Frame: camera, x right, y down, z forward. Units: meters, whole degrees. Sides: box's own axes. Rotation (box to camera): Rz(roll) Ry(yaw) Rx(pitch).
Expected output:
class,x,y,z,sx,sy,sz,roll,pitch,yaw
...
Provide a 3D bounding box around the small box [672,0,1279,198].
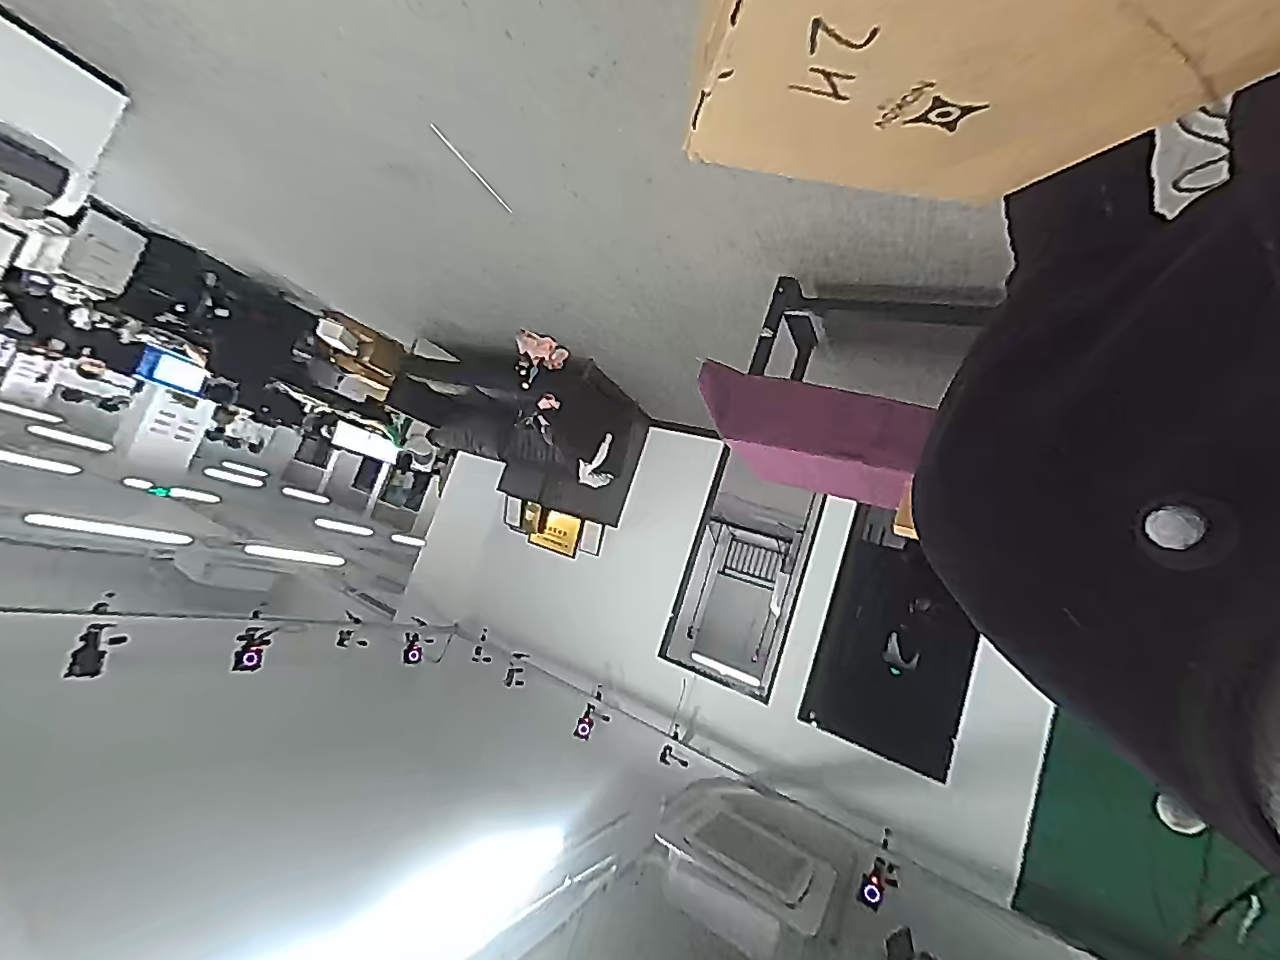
class,x,y,z,sx,sy,sz,roll,pitch,yaw
small box,0.121,-0.232,0.198,0.179,0.176,0.168,7,-171,-8
